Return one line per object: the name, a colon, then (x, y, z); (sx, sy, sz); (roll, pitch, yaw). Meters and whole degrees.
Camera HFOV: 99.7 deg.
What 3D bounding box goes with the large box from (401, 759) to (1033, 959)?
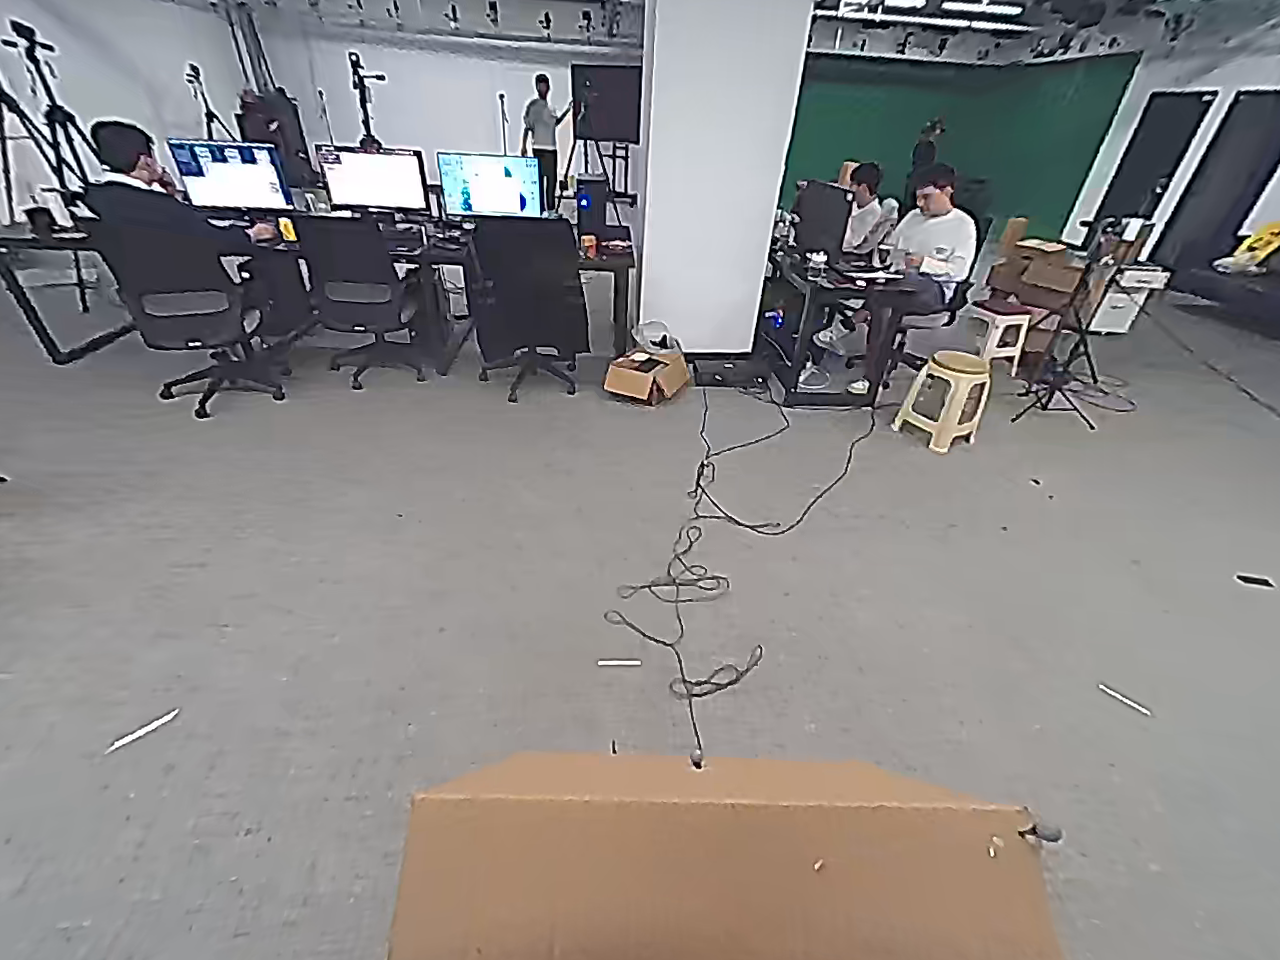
large box: (0.047, 0.418, 0.452); (0.408, 0.320, 0.320); (0, 69, 1)
